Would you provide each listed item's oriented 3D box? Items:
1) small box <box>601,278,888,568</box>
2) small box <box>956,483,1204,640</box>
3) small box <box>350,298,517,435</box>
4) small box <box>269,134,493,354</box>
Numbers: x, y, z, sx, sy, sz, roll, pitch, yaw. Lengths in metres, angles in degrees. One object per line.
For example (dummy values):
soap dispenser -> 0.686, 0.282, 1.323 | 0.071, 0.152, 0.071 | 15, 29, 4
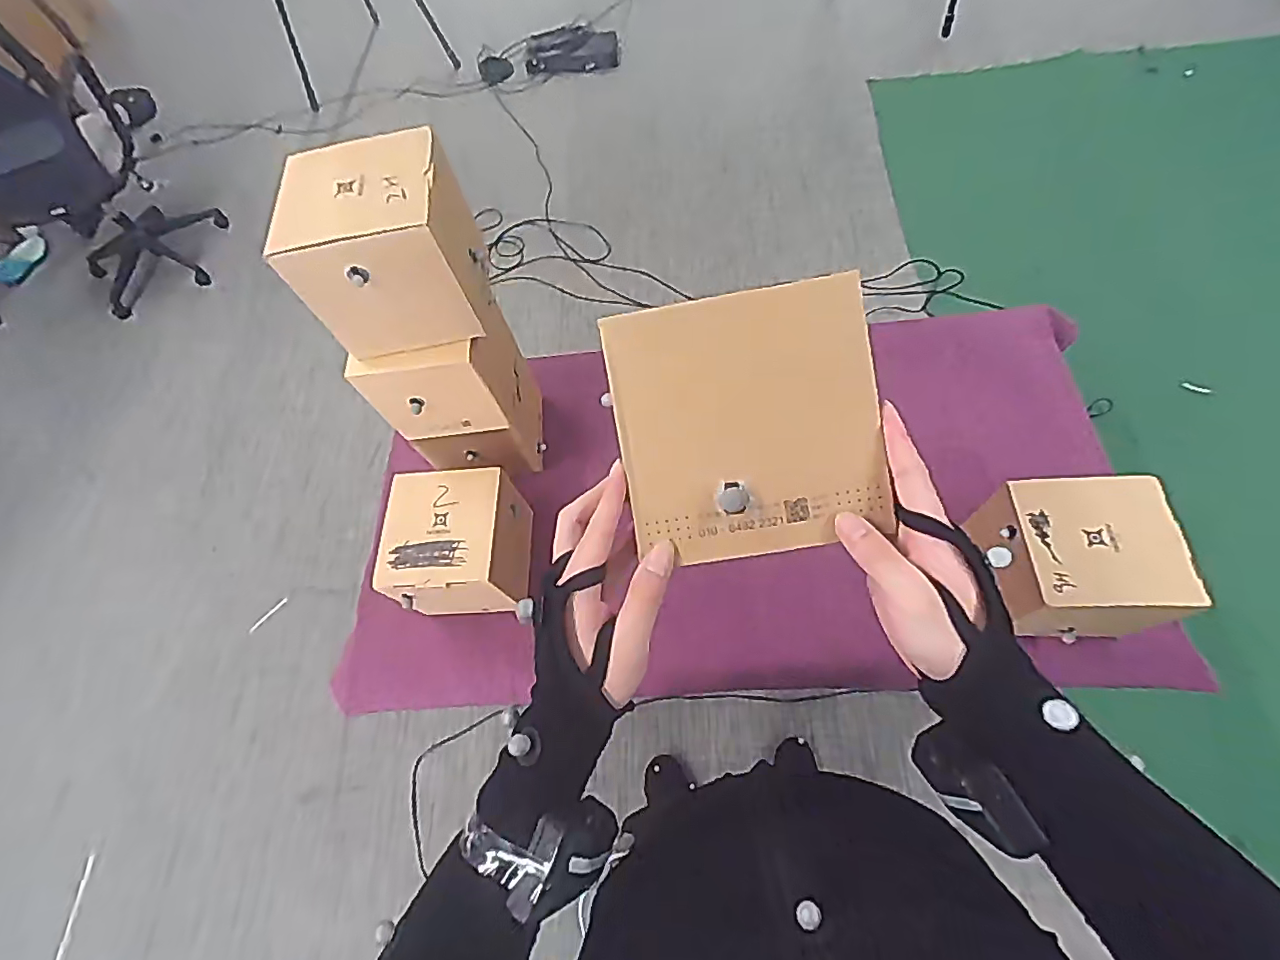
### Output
small box -> 0.072, -0.035, 0.425 | 0.168, 0.179, 0.176 | -10, 92, 3
small box -> 0.562, 0.114, 0.722 | 0.179, 0.176, 0.168 | -1, 62, 7
small box -> -0.286, -0.177, 0.789 | 0.168, 0.176, 0.179 | -6, 63, 4
small box -> -0.293, -0.273, 0.653 | 0.179, 0.176, 0.168 | -9, 64, 2
